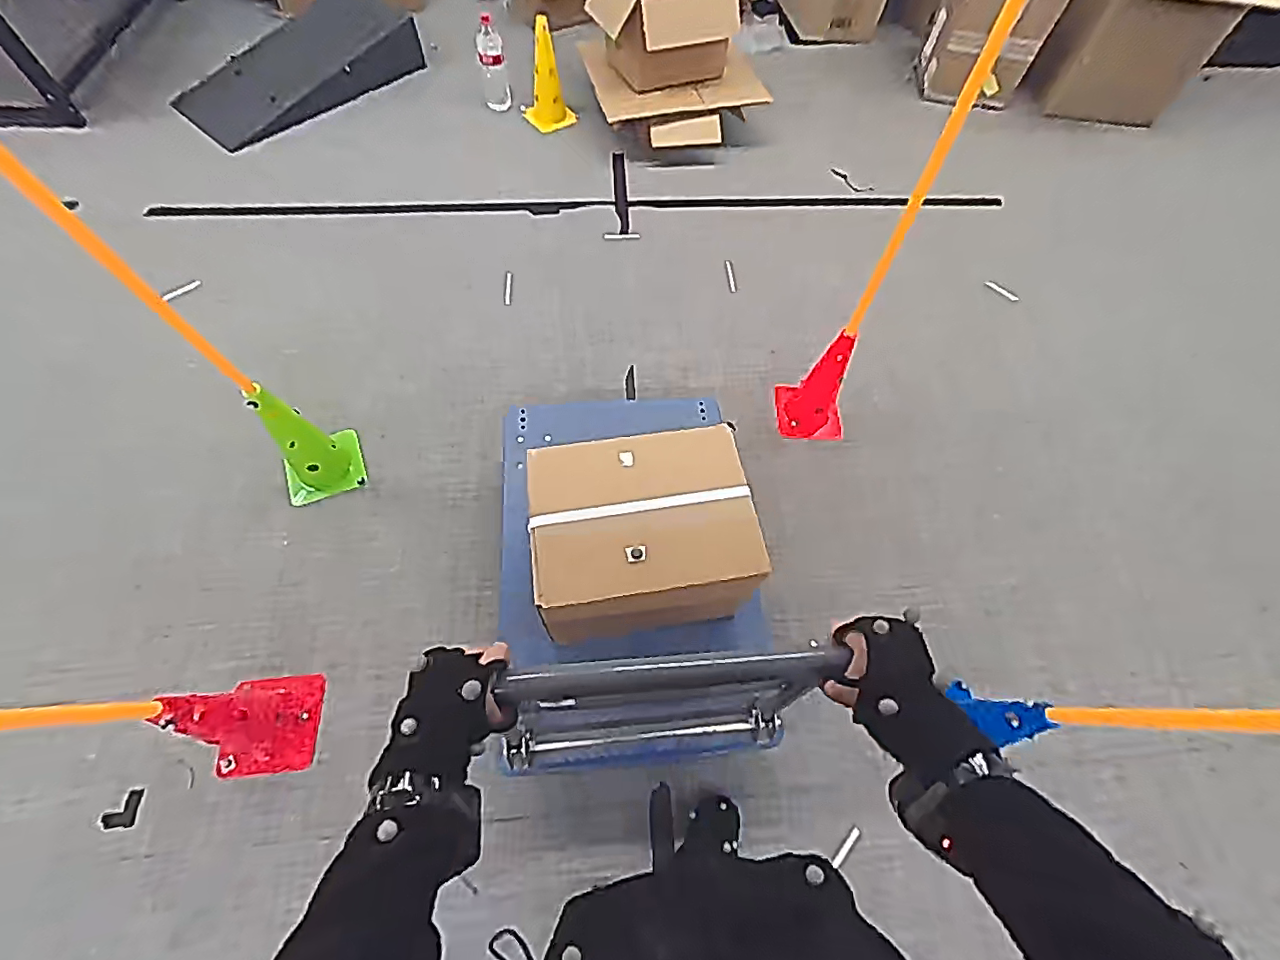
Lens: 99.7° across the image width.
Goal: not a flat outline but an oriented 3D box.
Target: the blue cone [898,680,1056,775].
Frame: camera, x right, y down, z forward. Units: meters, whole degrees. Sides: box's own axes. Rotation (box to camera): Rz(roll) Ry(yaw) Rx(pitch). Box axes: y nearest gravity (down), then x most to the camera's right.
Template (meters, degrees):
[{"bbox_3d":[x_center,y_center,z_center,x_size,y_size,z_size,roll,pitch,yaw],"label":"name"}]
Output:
[{"bbox_3d":[0.733,0.505,1.138,0.193,0.380,0.192,-6,61,-6],"label":"blue cone"}]

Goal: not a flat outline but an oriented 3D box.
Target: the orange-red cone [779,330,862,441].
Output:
[{"bbox_3d":[0.545,-0.291,1.540,0.199,0.360,0.198,4,62,-2],"label":"orange-red cone"}]
